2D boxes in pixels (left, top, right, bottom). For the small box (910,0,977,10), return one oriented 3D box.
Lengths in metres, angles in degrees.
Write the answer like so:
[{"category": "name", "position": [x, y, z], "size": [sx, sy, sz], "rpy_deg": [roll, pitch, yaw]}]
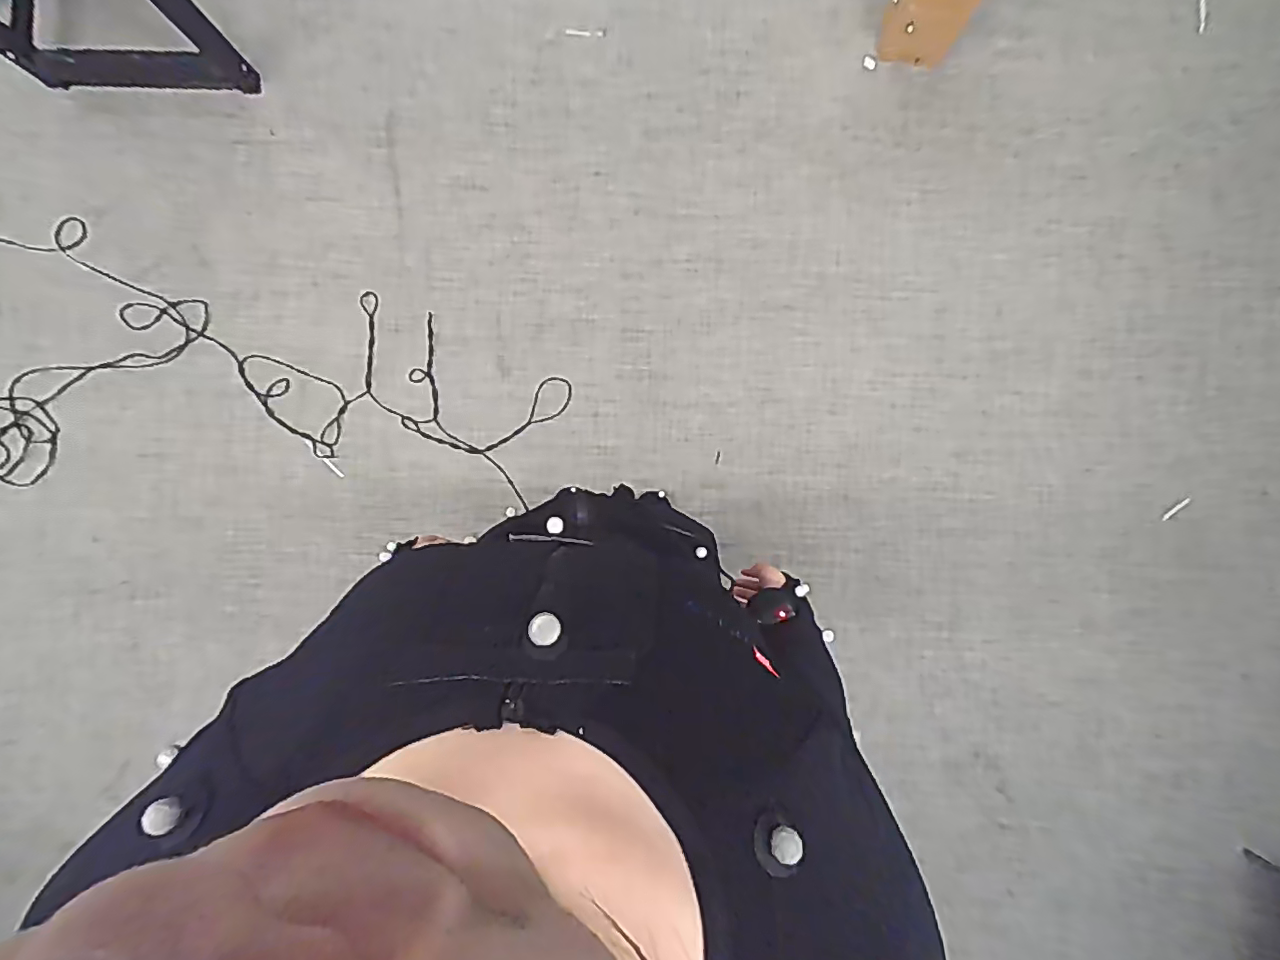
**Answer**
[{"category": "small box", "position": [0.767, -1.268, 1.278], "size": [0.179, 0.176, 0.168], "rpy_deg": [9, 91, 0]}]
